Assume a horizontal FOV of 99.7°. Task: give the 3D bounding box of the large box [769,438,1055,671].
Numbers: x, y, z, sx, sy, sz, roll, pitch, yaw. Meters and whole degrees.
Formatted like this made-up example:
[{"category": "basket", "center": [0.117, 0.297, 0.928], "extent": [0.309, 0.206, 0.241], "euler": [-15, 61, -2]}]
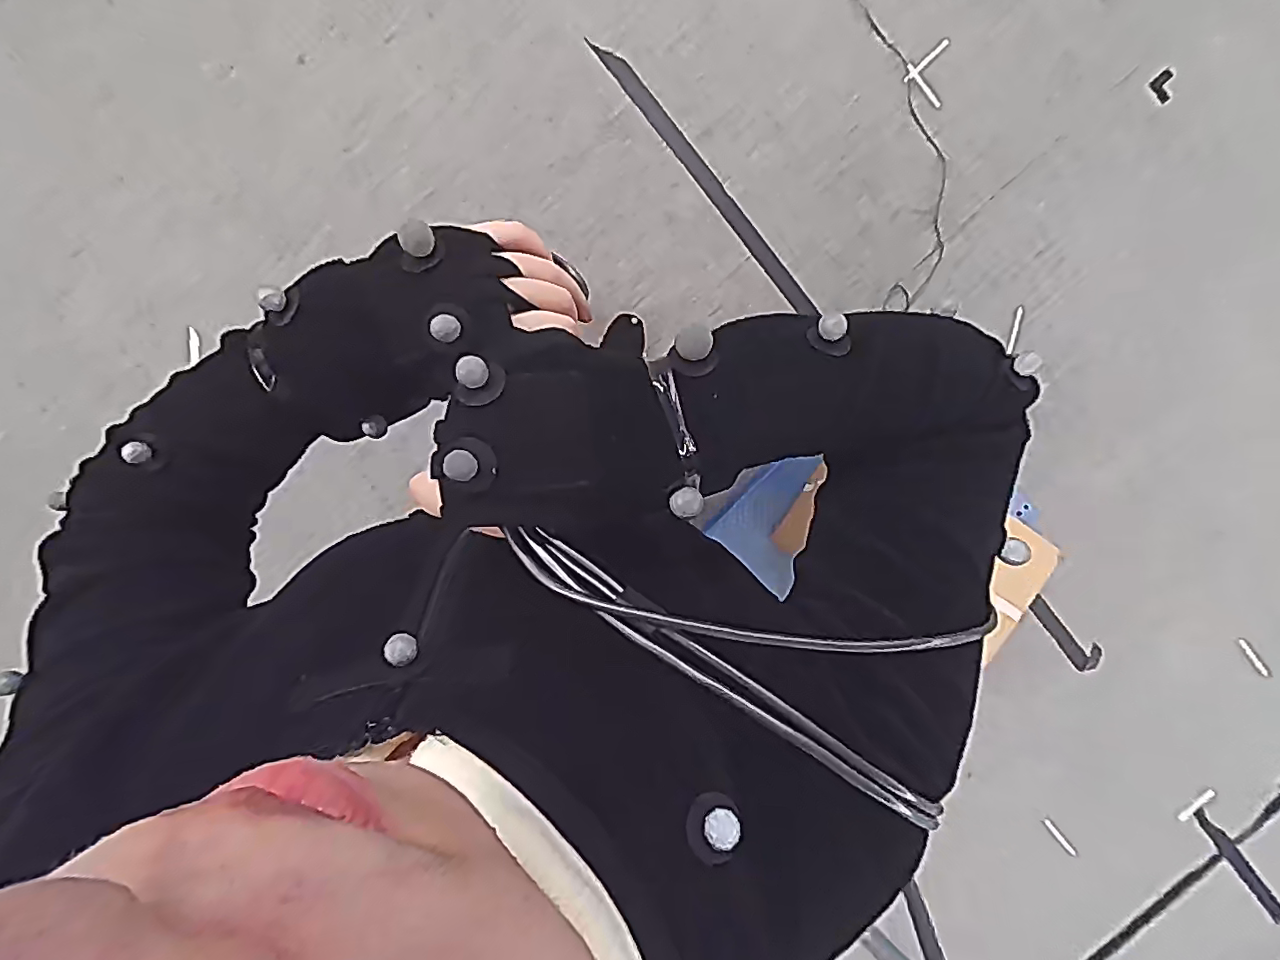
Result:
[{"category": "large box", "center": [0.569, 0.139, 1.205], "extent": [0.408, 0.320, 0.320], "euler": [34, 94, -7]}]
